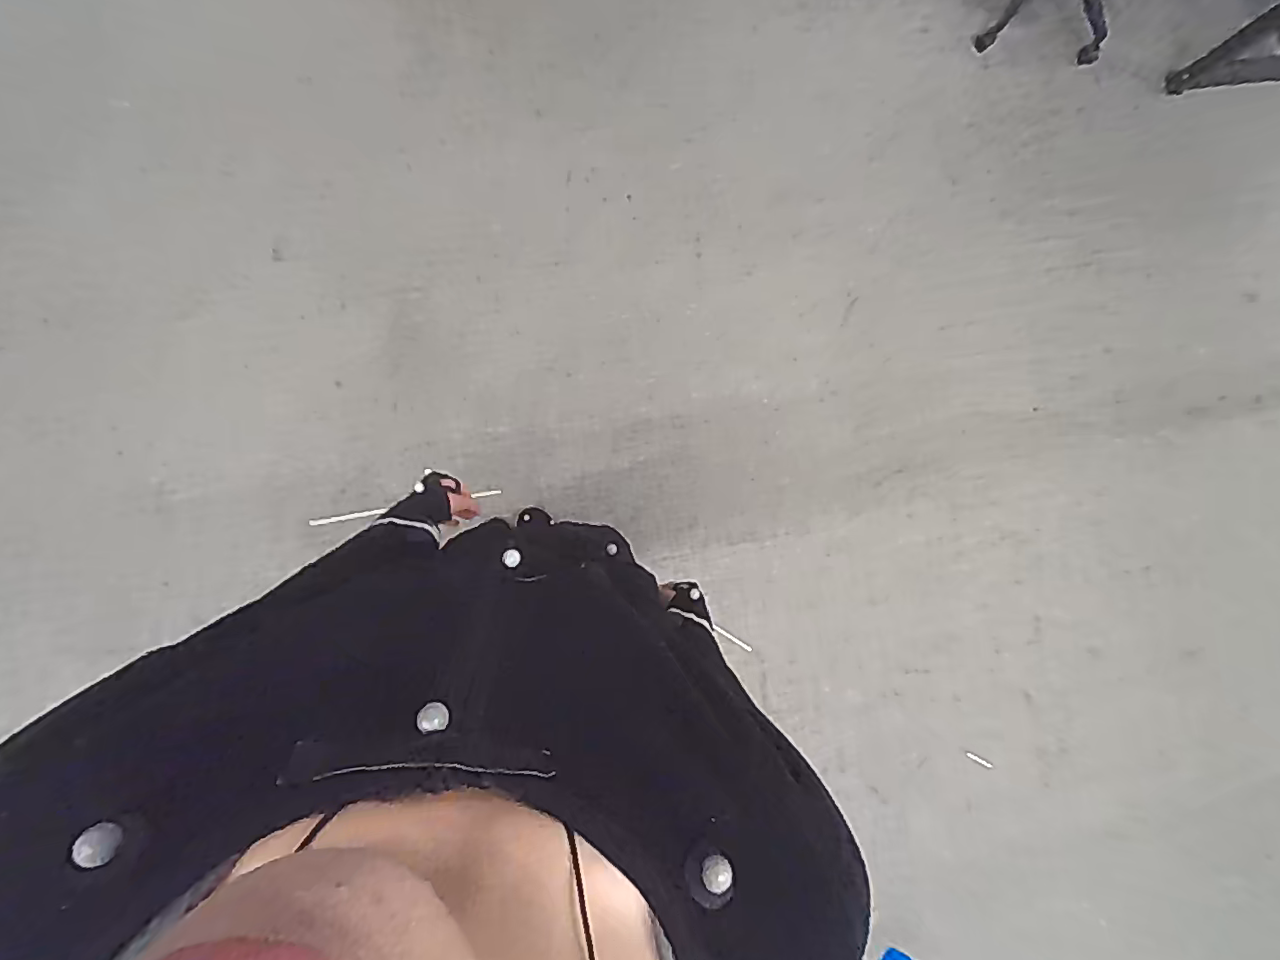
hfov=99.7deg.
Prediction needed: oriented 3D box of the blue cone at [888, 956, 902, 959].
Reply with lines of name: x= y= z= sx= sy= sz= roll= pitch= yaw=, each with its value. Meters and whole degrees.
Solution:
blue cone: x=0.782 y=1.492 z=1.410 sx=0.192 sy=0.380 sz=0.193 roll=35 pitch=81 yaw=-5
